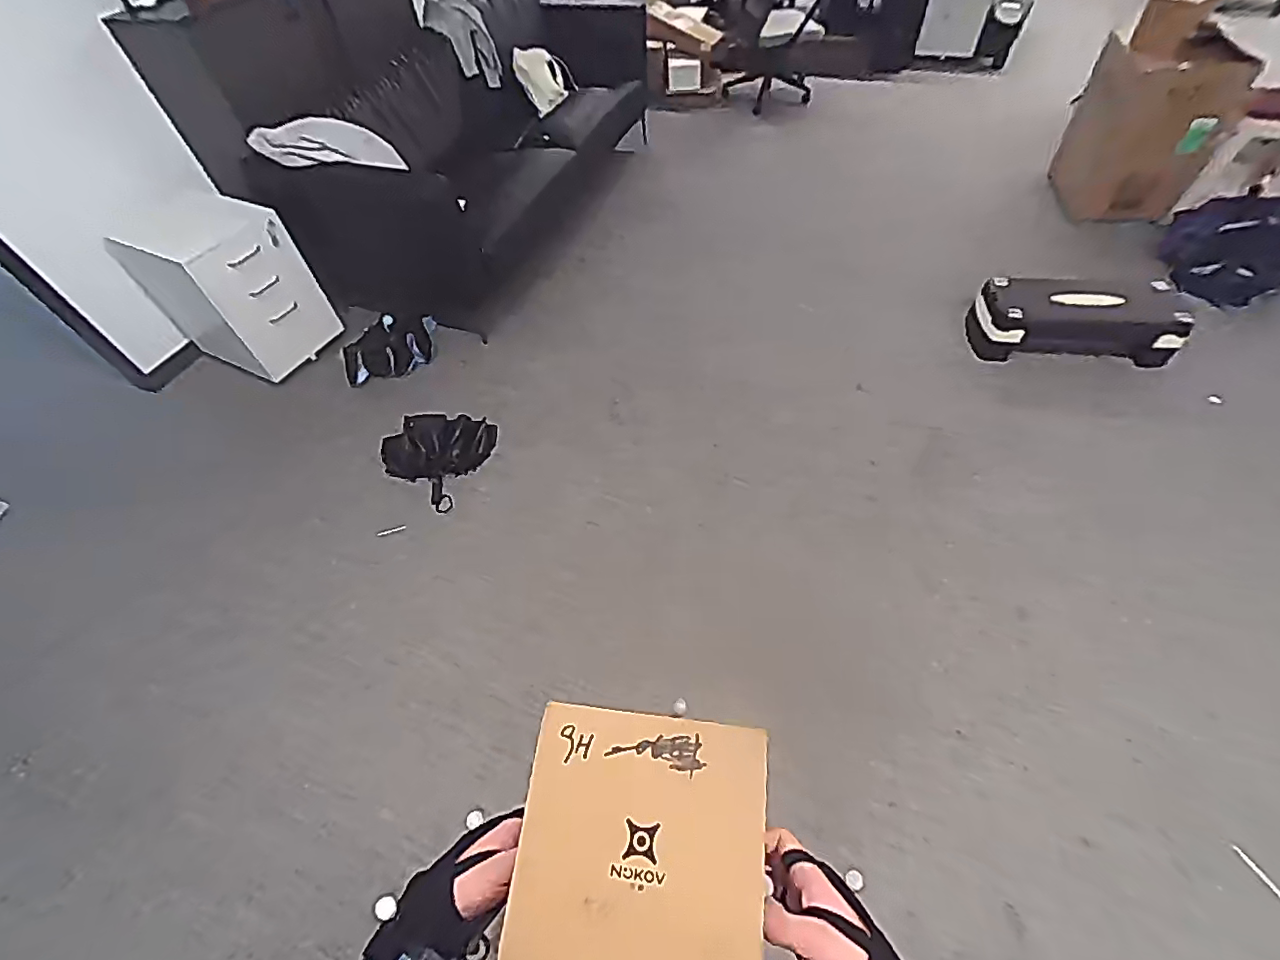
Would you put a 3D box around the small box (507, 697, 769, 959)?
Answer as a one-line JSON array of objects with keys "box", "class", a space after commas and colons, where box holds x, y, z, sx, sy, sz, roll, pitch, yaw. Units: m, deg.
[{"box": [0.011, 0.283, 0.438, 0.168, 0.176, 0.179, 4, 65, 7], "class": "small box"}]
